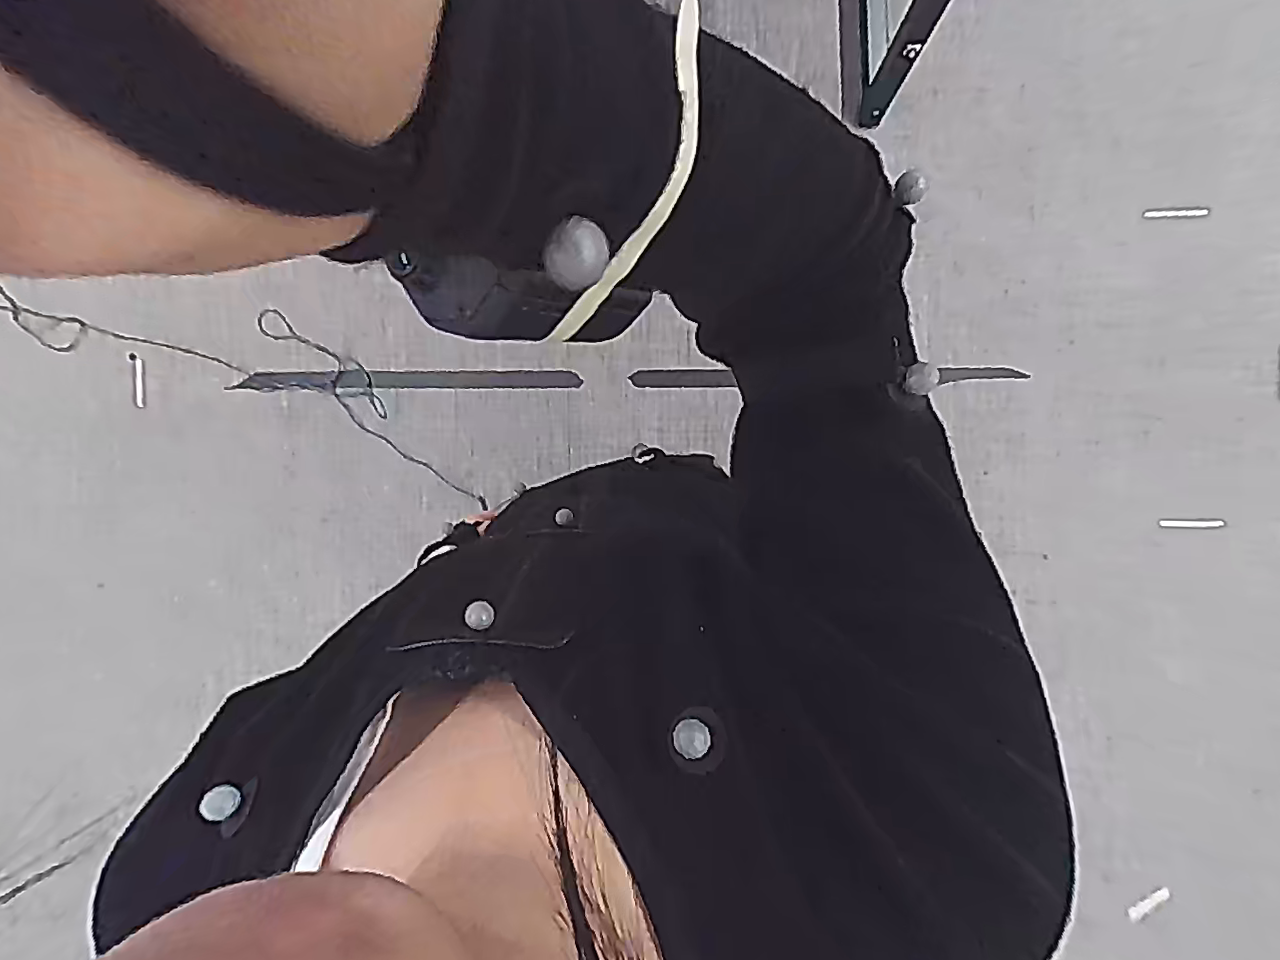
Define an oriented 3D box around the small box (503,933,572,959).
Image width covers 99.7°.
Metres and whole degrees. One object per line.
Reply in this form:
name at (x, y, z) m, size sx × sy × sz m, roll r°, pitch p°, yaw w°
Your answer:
small box at (-0.281, 1.363, 1.447) m, size 0.179 × 0.176 × 0.168 m, roll -6°, pitch 92°, yaw 3°
